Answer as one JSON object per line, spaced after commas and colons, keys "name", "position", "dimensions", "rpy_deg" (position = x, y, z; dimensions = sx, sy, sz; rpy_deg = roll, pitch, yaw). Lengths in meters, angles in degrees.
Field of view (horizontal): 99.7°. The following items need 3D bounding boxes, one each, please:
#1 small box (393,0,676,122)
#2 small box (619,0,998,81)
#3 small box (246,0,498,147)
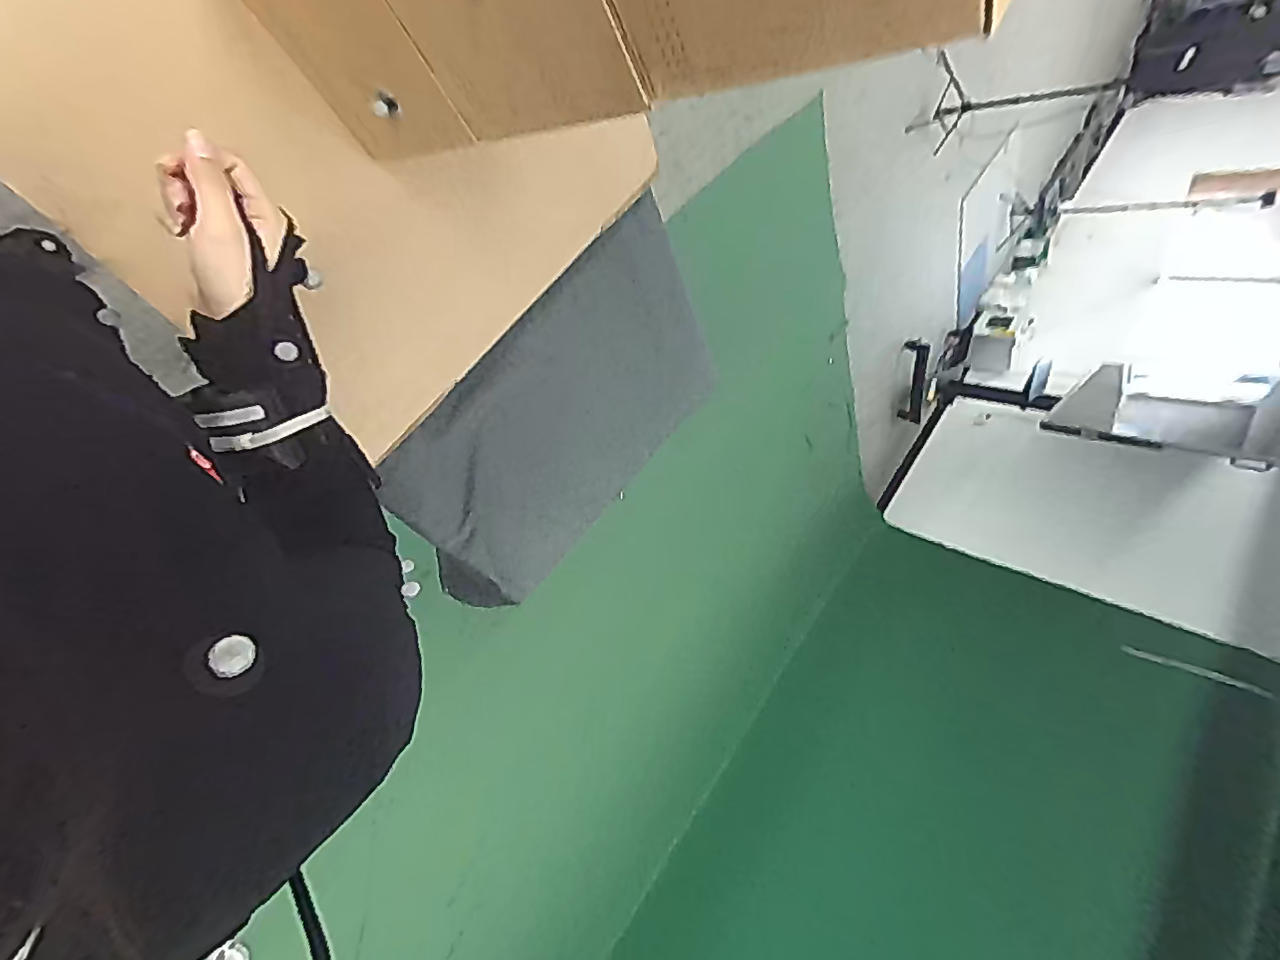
{"name": "small box", "position": [-0.053, -0.341, 0.312], "dimensions": [0.168, 0.176, 0.179], "rpy_deg": [-60, 141, -15]}
{"name": "small box", "position": [0.074, -0.302, 0.218], "dimensions": [0.168, 0.176, 0.179], "rpy_deg": [-60, 141, -14]}
{"name": "small box", "position": [-0.179, -0.384, 0.410], "dimensions": [0.168, 0.176, 0.179], "rpy_deg": [-59, 141, -15]}
